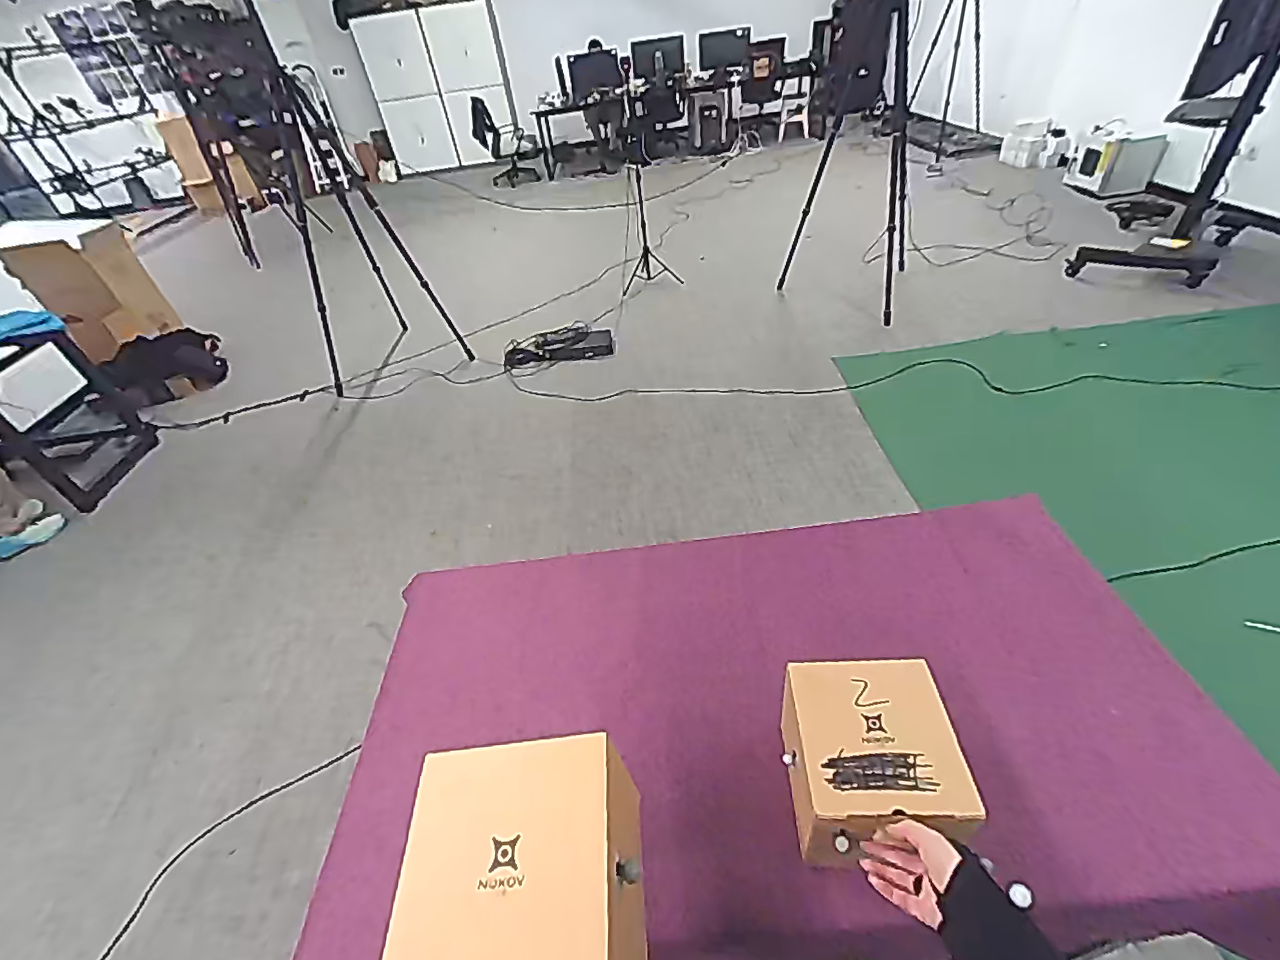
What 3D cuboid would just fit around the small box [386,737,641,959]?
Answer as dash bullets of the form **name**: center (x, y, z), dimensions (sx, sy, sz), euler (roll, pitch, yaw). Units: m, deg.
- **small box**: center (-0.094, 0.357, 0.481), dimensions (0.168, 0.176, 0.179), euler (-9, 44, 4)
